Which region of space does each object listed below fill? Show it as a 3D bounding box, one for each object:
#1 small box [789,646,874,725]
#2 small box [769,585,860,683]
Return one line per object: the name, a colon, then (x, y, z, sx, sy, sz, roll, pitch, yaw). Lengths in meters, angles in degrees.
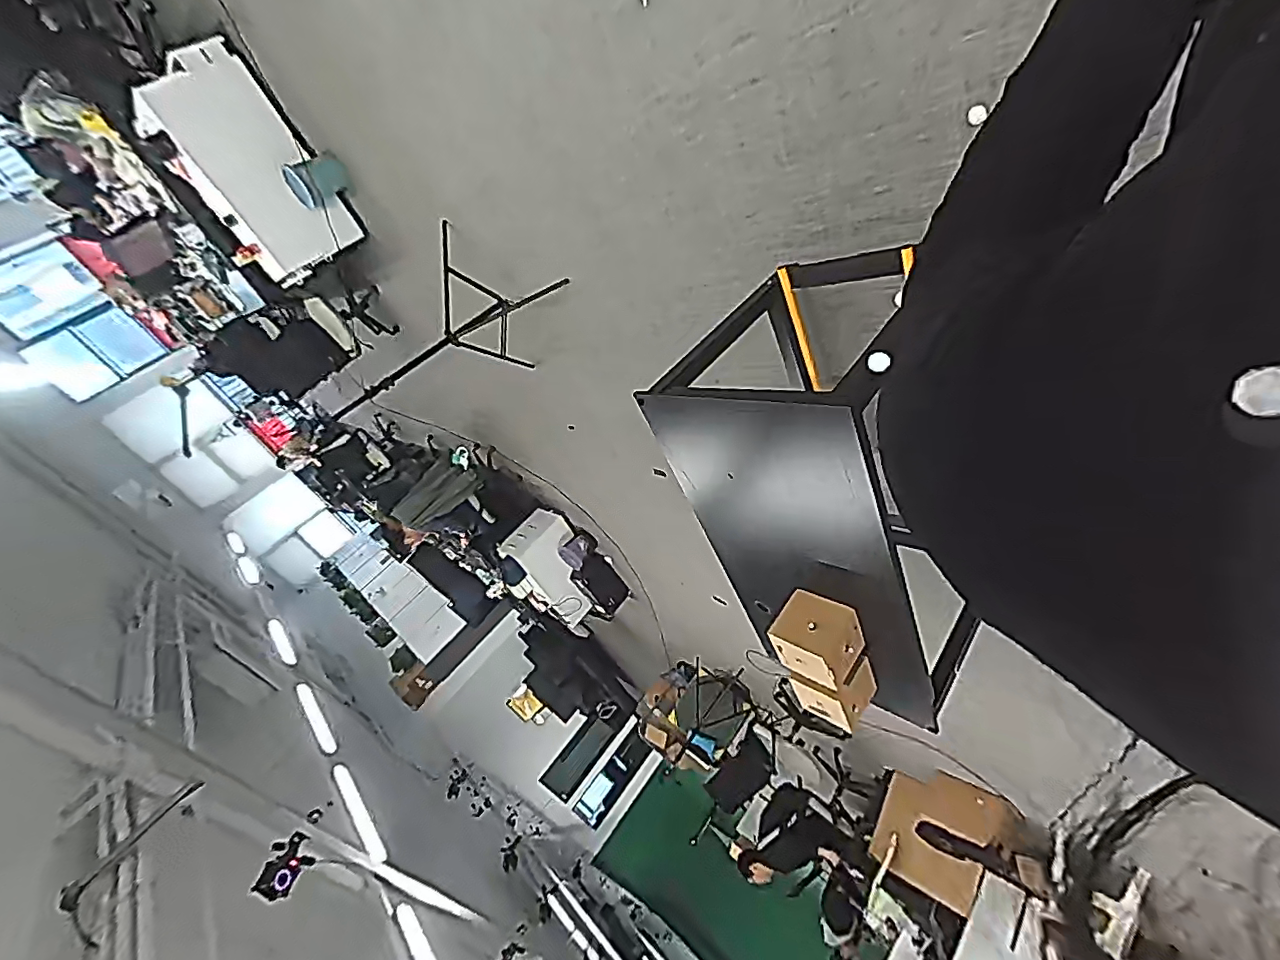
small box: (0.583, 0.590, 1.630, 0.168, 0.176, 0.179, 14, 141, 47)
small box: (0.491, 0.419, 1.500, 0.179, 0.176, 0.168, 14, 142, 46)
